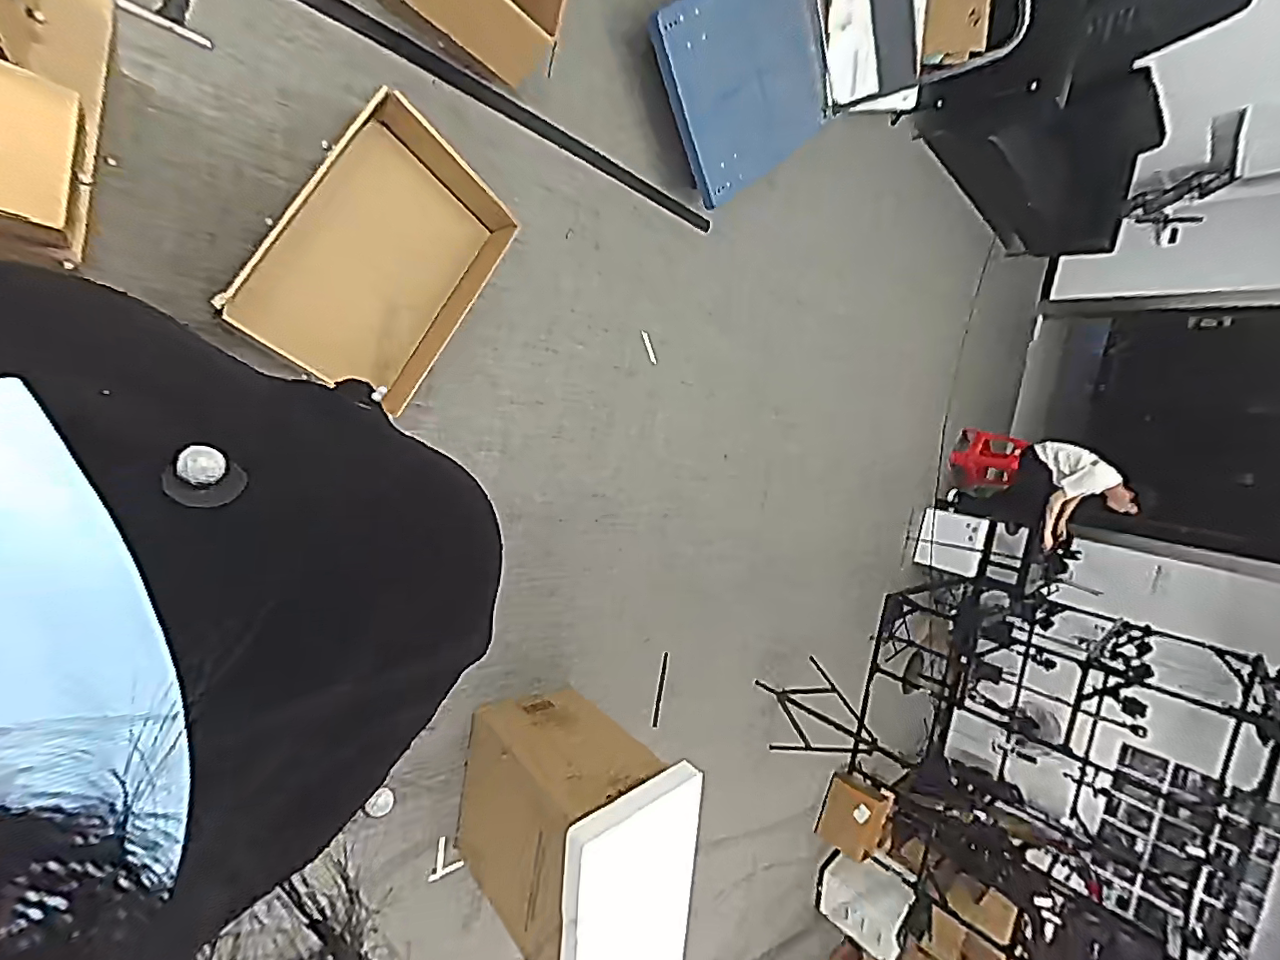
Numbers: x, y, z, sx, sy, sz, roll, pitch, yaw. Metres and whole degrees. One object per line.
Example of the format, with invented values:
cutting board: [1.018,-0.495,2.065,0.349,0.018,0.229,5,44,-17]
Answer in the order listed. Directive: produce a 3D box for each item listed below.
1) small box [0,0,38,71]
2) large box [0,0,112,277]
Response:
small box: [-0.838,-0.621,0.620,0.179,0.176,0.168,11,95,-45]
large box: [-1.021,-0.563,0.808,0.320,0.320,0.408,7,97,-43]
